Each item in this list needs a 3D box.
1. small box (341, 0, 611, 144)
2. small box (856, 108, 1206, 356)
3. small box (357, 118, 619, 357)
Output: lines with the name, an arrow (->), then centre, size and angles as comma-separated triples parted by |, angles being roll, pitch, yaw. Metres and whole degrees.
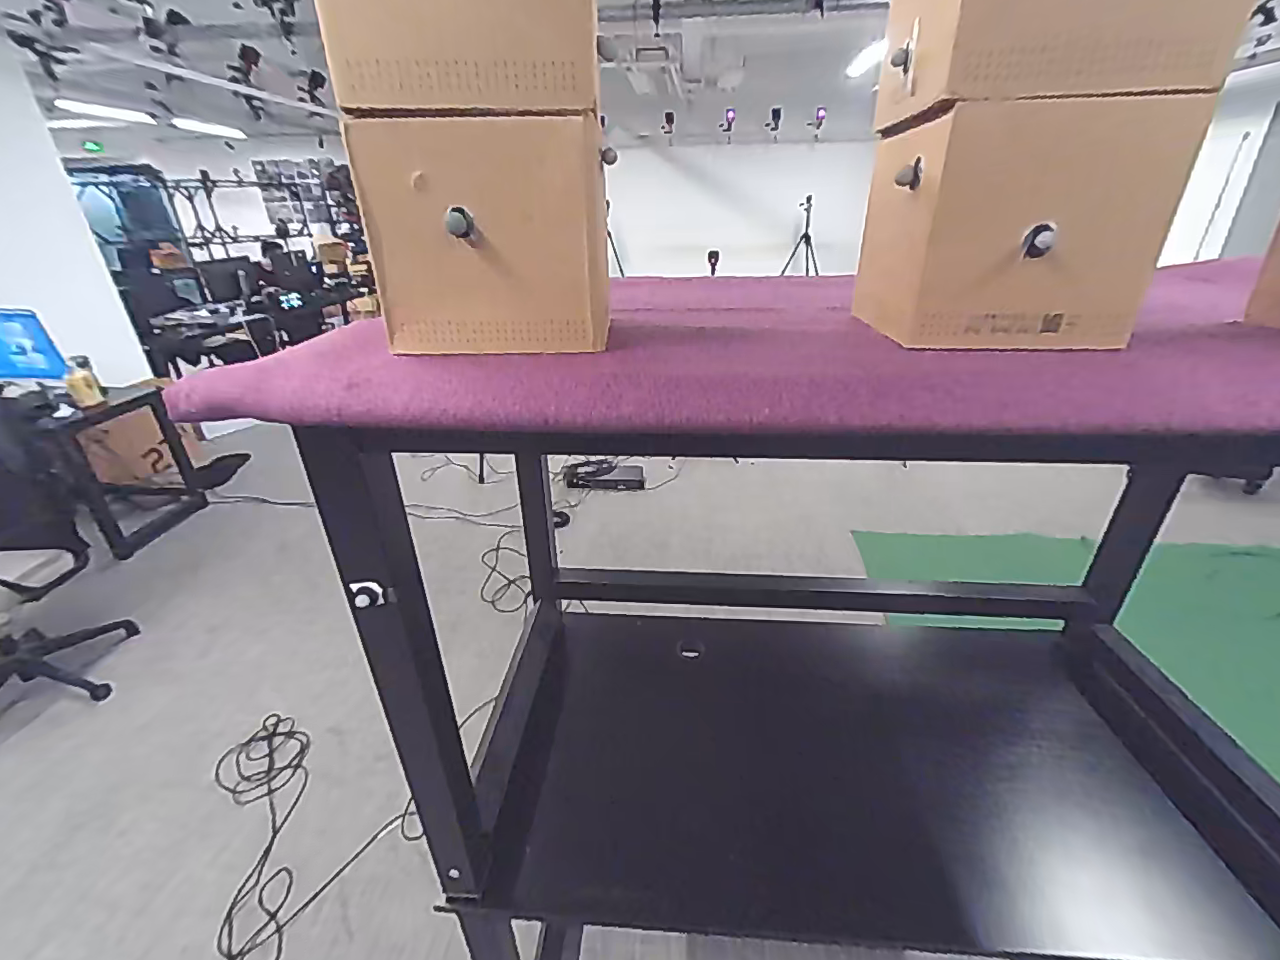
small box -> -0.112, -0.357, 0.409 | 0.179, 0.176, 0.168 | -1, 27, -3
small box -> 0.305, -0.209, 0.474 | 0.168, 0.176, 0.179 | 2, 26, 5
small box -> -0.112, -0.210, 0.484 | 0.179, 0.176, 0.168 | -1, 28, 0
